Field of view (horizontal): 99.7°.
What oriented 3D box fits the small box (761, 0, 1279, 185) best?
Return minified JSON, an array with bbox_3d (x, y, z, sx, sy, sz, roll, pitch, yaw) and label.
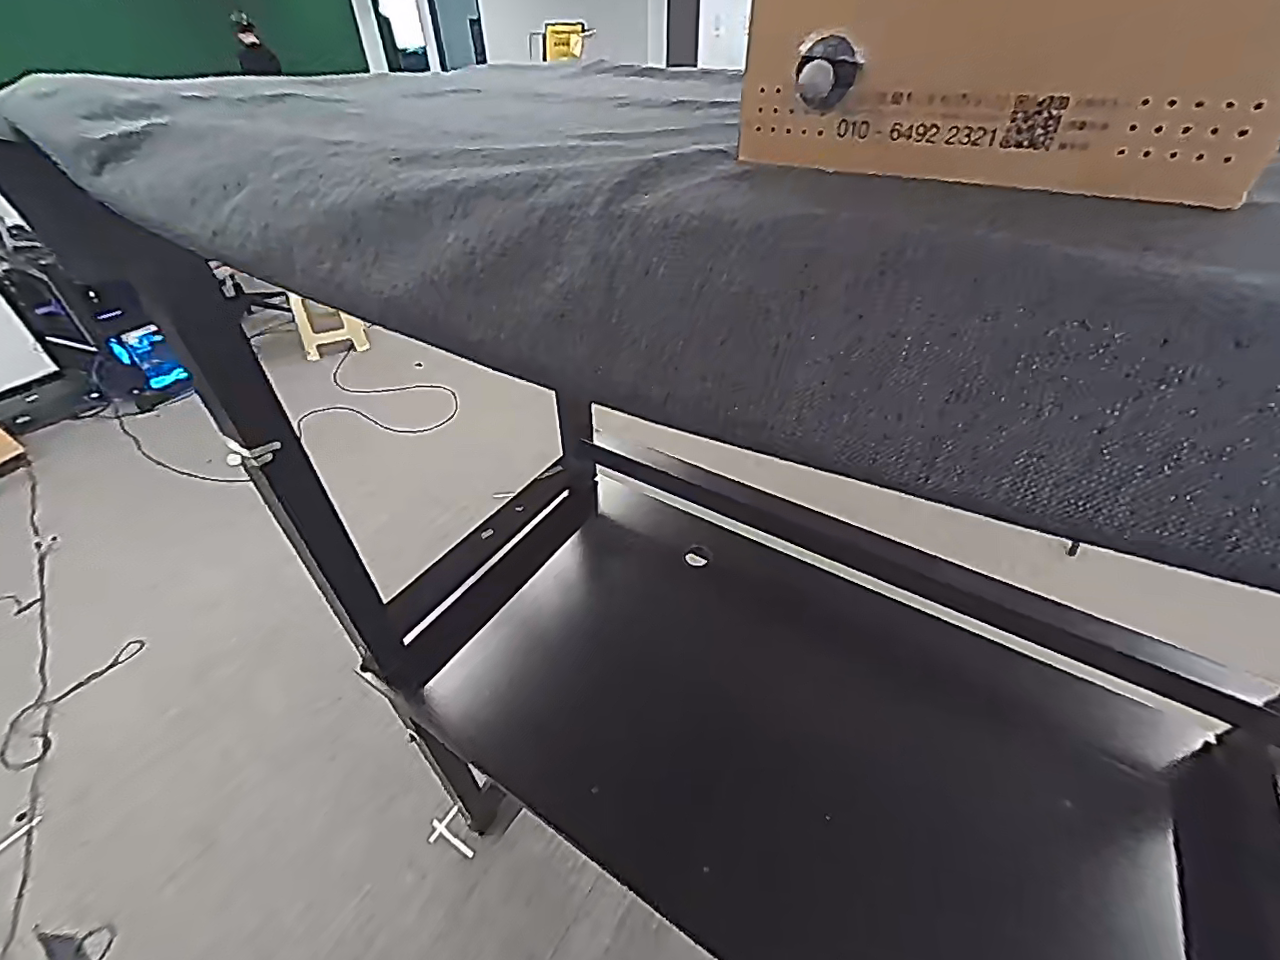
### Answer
[{"bbox_3d":[0.155,-0.220,0.201,0.168,0.176,0.179,22,43,24],"label":"small box"}]
